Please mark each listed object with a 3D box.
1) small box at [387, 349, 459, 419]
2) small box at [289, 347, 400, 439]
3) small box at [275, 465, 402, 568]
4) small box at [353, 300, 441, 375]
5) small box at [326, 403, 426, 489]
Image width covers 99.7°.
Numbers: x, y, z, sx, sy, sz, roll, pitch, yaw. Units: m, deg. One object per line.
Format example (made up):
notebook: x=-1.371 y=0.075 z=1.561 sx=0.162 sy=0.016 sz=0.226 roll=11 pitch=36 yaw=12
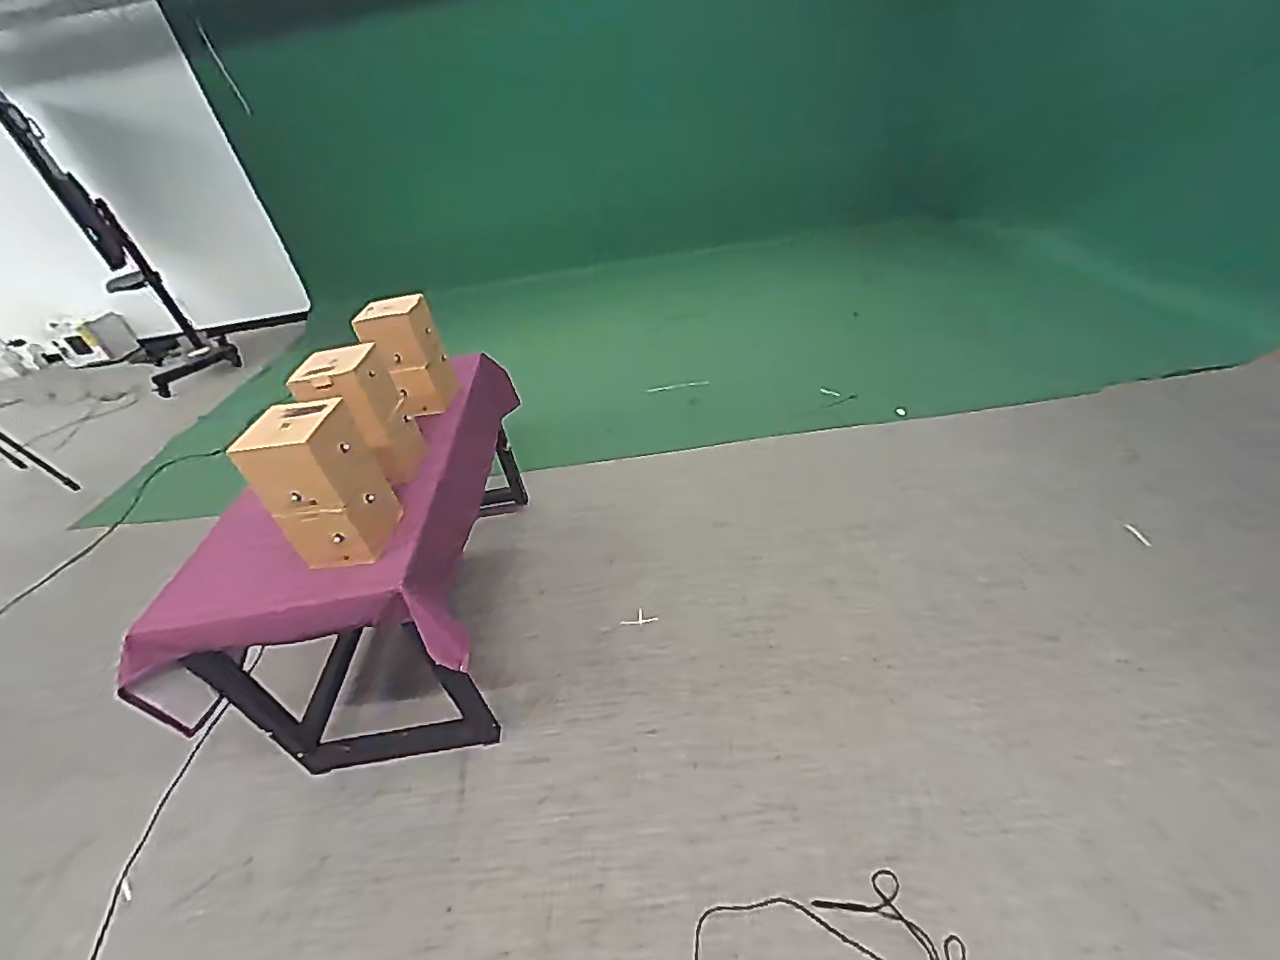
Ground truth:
small box: x=-0.720 y=-0.311 z=1.782 sx=0.168 sy=0.176 sz=0.179 roll=-6 pitch=37 yaw=7
small box: x=-0.747 y=-0.218 z=1.392 sx=0.168 sy=0.176 sz=0.179 roll=-10 pitch=36 yaw=1
small box: x=-0.683 y=0.090 z=1.252 sx=0.168 sy=0.176 sz=0.179 roll=-5 pitch=37 yaw=7
small box: x=-0.745 y=-0.441 z=1.685 sx=0.179 sy=0.176 sz=0.168 roll=-8 pitch=37 yaw=3
small box: x=-0.715 y=-0.089 z=1.491 sx=0.168 sy=0.176 sz=0.179 roll=-9 pitch=37 yaw=4
